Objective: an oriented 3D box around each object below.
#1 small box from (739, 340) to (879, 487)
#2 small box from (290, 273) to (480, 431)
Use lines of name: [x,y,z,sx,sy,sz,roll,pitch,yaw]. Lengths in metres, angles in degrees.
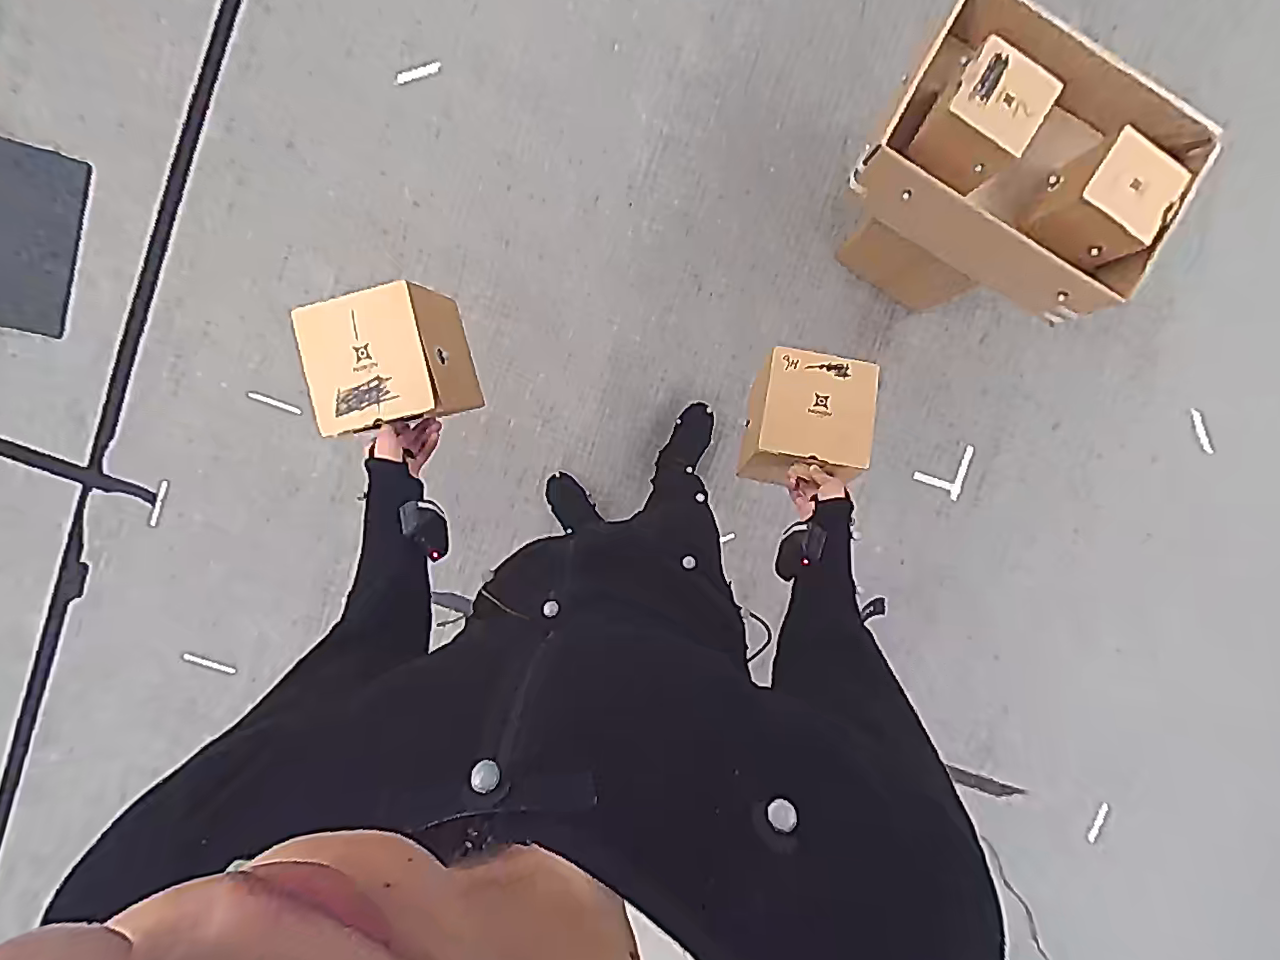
small box: [0.265,-0.098,0.880,0.168,0.176,0.179,12,76,2]
small box: [-0.354,-0.178,0.787,0.168,0.176,0.179,-13,98,5]
